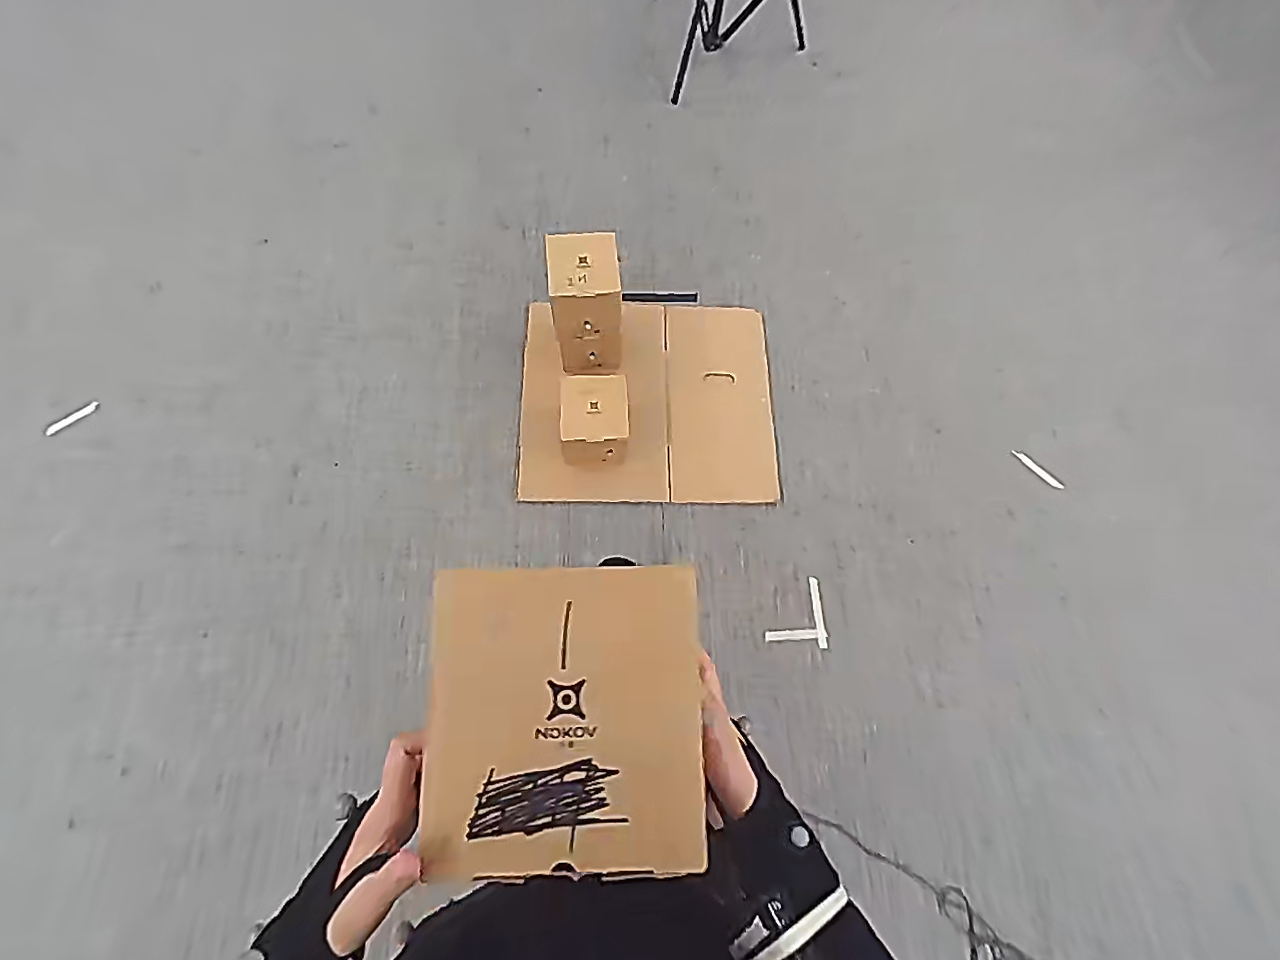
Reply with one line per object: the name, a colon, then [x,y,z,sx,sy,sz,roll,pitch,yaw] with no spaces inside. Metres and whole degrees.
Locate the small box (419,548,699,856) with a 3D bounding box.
small box: [-0.048,0.145,0.405,0.168,0.176,0.179,-1,78,-2]

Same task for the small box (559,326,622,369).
small box: [-0.138,-0.415,1.474,0.168,0.176,0.179,-7,73,-6]

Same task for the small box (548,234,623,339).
small box: [-0.133,-0.468,1.318,0.168,0.176,0.179,-5,72,-4]

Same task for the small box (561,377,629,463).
small box: [-0.114,-0.147,1.388,0.168,0.176,0.179,-2,71,-5]
